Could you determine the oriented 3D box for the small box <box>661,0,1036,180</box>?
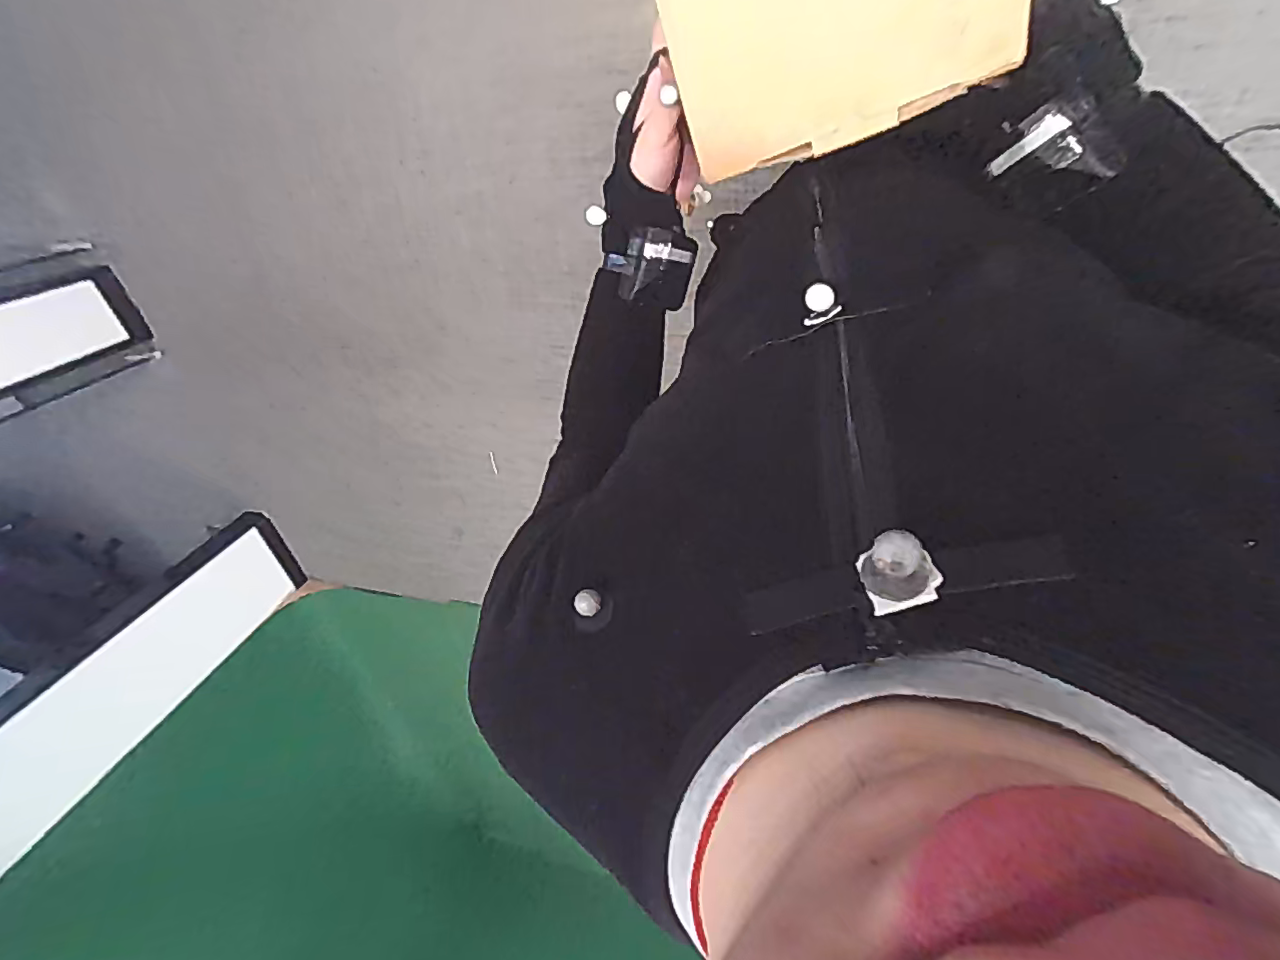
[{"bbox_3d":[0.092,-0.302,0.296,0.168,0.176,0.179,-14,127,16],"label":"small box"}]
